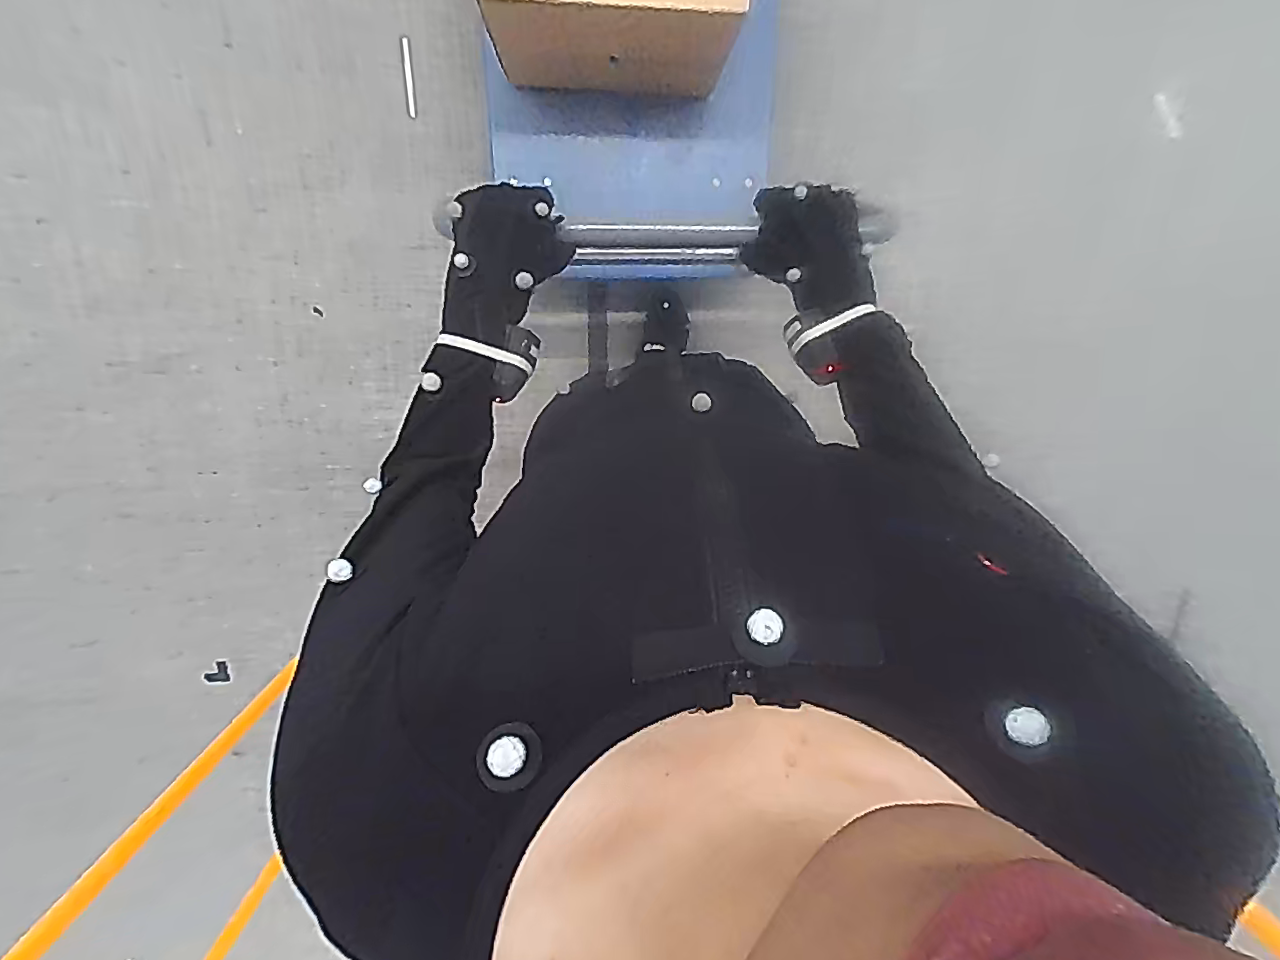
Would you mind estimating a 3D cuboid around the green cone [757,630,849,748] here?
[{"bbox_3d":[0.477,0.600,1.502,0.202,0.368,0.200,2,105,-5],"label":"green cone"}]

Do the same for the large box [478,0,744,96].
[{"bbox_3d":[-0.046,-0.884,0.910,0.408,0.320,0.320,0,105,-3],"label":"large box"}]
